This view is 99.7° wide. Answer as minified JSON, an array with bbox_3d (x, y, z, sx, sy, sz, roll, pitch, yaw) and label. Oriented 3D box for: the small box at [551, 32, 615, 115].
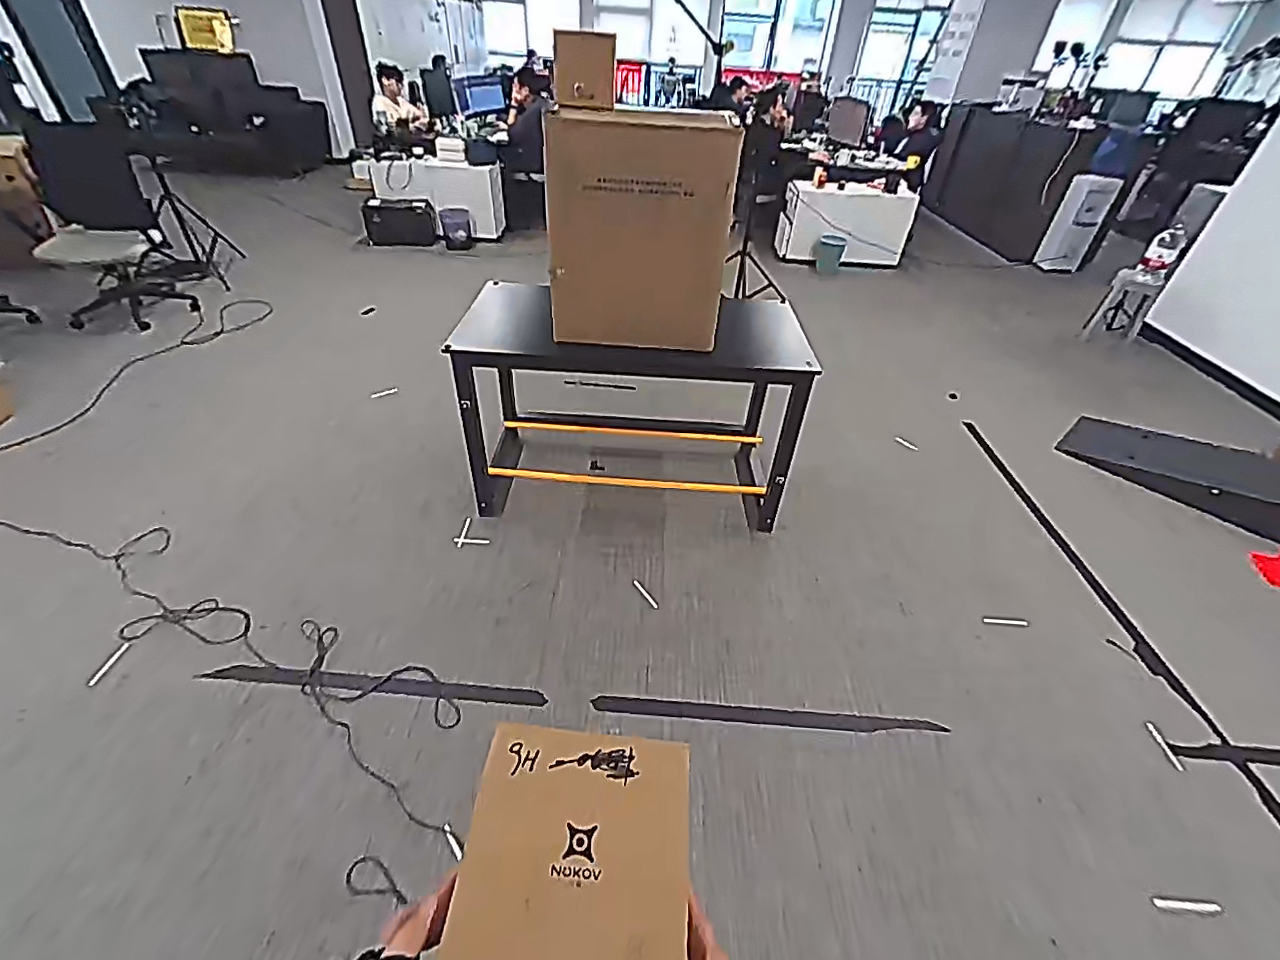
[{"bbox_3d":[-0.156,-1.135,1.512,0.168,0.176,0.179,1,38,-3],"label":"small box"}]
